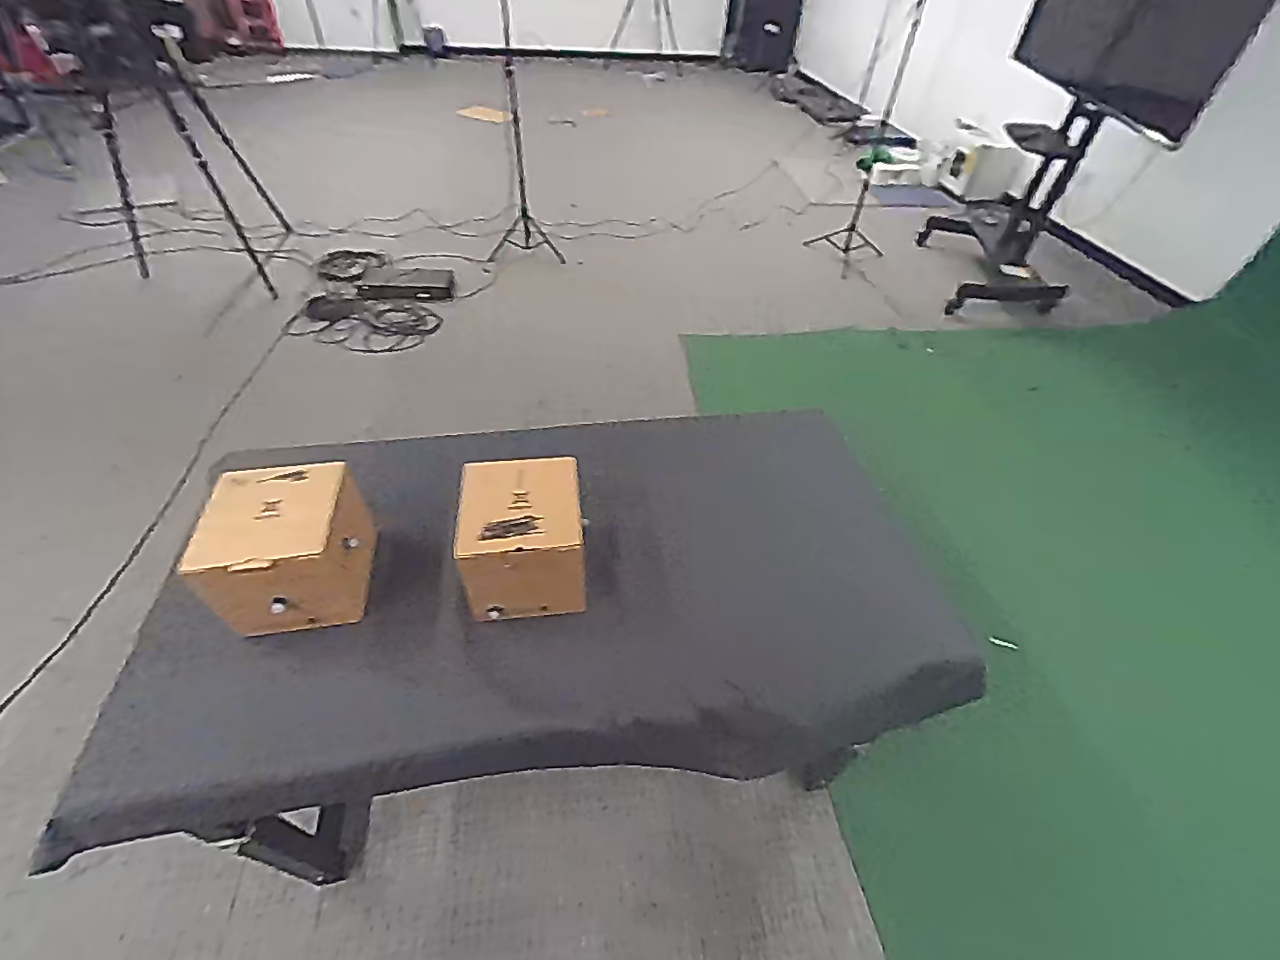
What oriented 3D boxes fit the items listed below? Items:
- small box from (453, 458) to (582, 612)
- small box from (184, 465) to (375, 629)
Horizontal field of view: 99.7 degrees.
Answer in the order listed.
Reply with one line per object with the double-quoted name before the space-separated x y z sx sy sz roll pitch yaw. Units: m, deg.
"small box" -0.178 0.089 0.830 0.168 0.176 0.179 -4 46 -8
"small box" -0.508 0.103 0.796 0.168 0.176 0.179 -6 48 -10
